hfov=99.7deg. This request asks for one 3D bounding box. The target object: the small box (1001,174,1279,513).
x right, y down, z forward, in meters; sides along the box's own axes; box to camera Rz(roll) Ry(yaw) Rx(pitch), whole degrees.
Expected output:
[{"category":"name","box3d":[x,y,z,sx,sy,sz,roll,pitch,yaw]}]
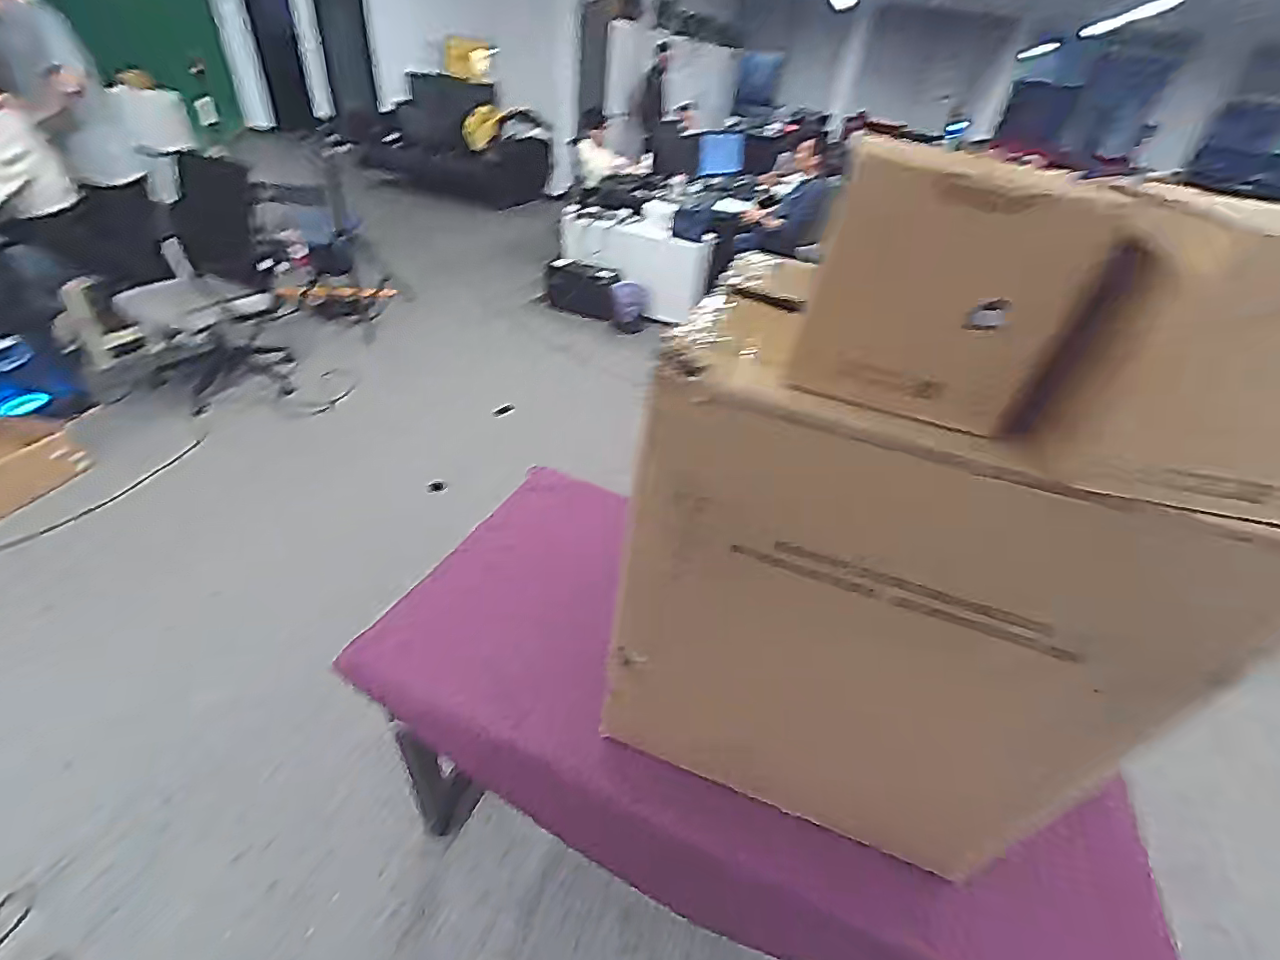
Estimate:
[{"category":"small box","box3d":[0.392,-0.103,0.383,0.168,0.176,0.179,11,36,5]}]

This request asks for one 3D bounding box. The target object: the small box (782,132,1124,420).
[{"category":"small box","box3d":[0.224,-0.171,0.445,0.168,0.176,0.179,18,37,8]}]
